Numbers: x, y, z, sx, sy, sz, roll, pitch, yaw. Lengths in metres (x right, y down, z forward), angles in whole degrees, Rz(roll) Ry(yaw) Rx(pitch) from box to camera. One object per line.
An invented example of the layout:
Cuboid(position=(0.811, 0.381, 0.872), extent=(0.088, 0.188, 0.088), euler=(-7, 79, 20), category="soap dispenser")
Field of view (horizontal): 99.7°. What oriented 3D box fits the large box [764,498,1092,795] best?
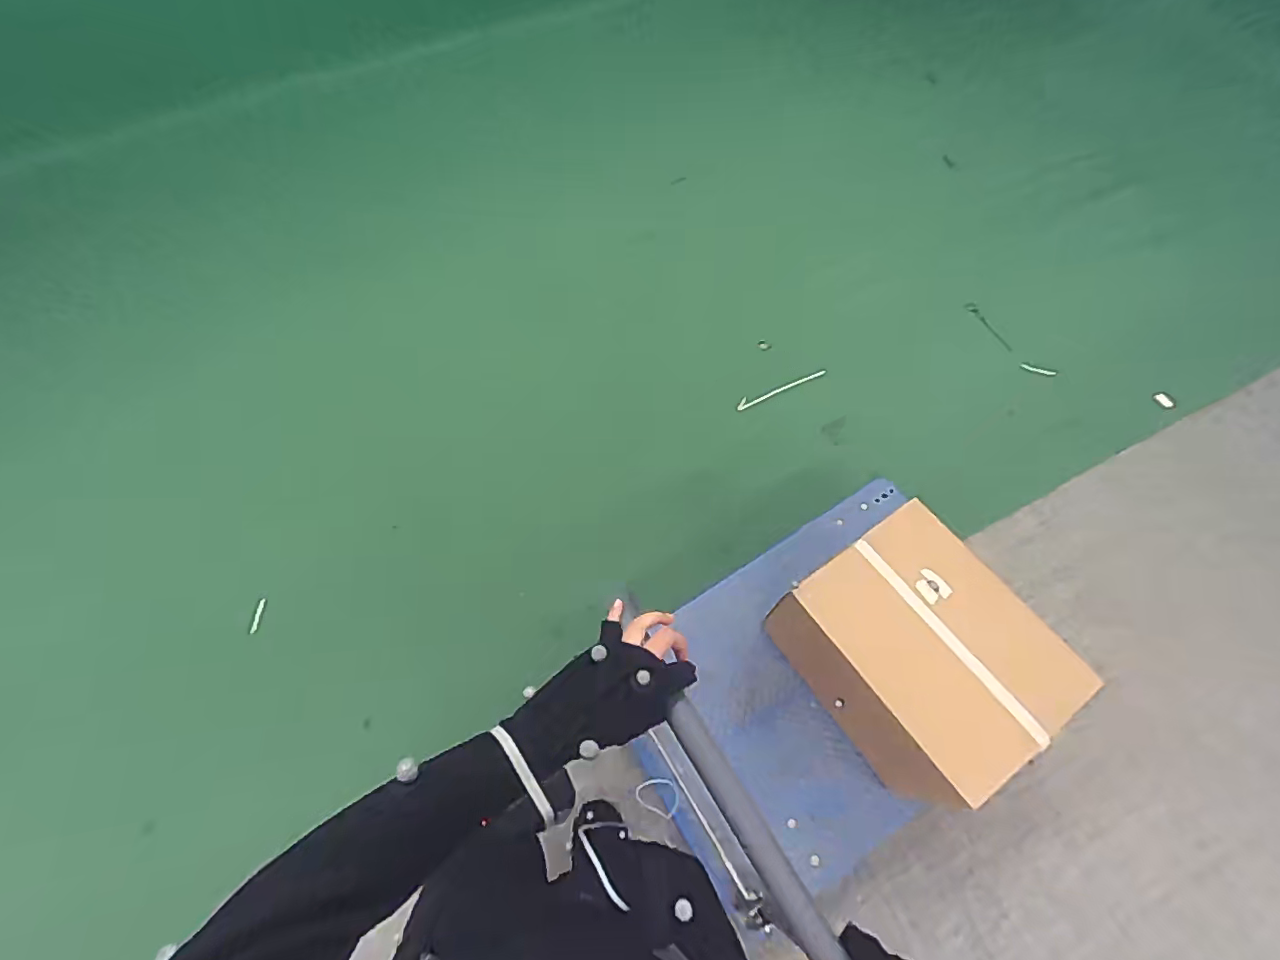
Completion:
Cuboid(position=(0.507, 0.320, 1.050), extent=(0.320, 0.320, 0.408), euler=(-33, 66, -14), category="large box")
